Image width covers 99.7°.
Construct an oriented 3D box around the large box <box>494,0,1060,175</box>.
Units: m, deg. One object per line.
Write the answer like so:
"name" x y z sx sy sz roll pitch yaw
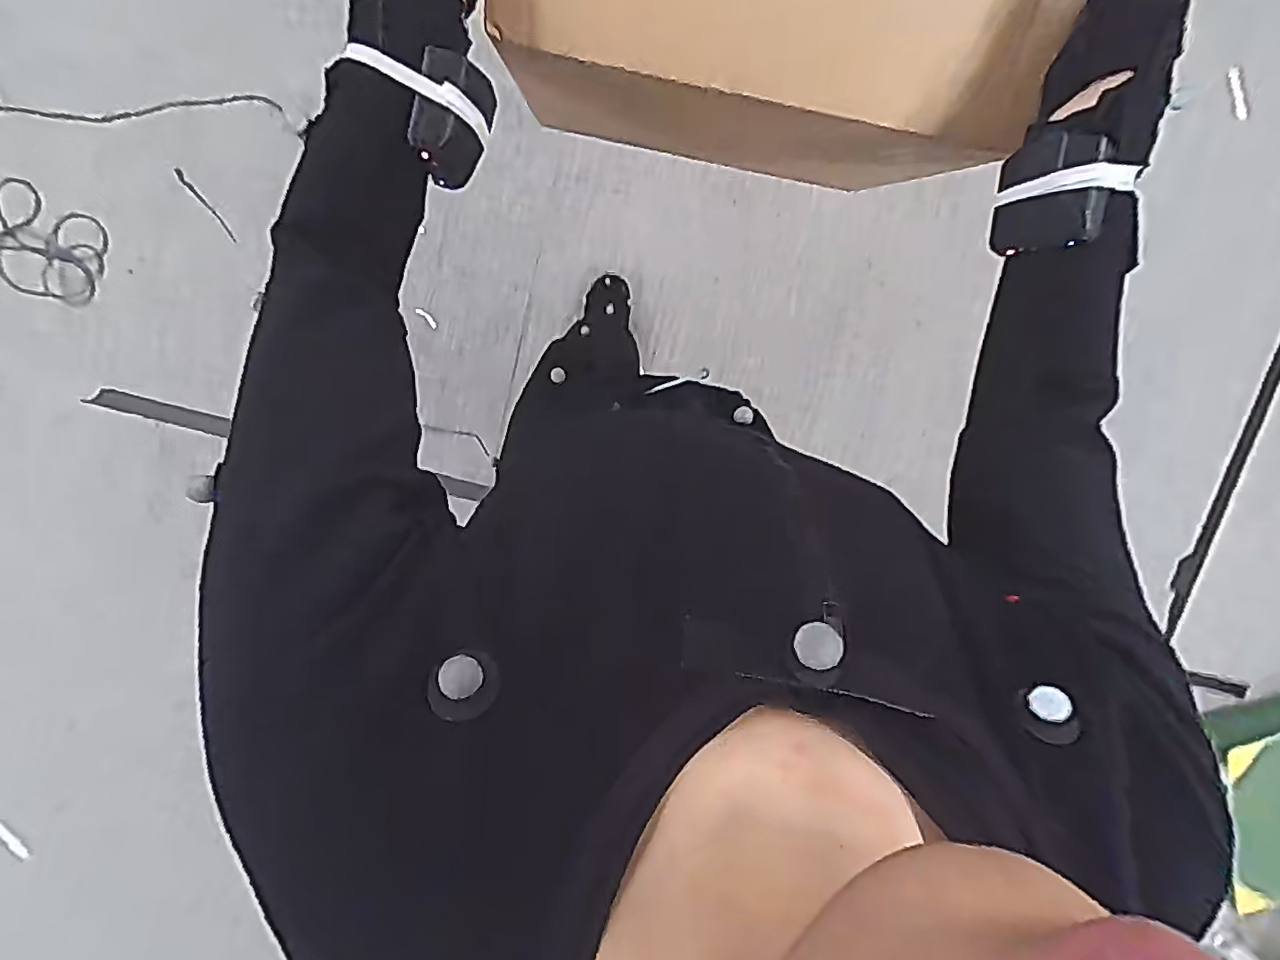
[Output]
"large box" 0.103 -0.487 0.471 0.408 0.320 0.320 7 114 -8
